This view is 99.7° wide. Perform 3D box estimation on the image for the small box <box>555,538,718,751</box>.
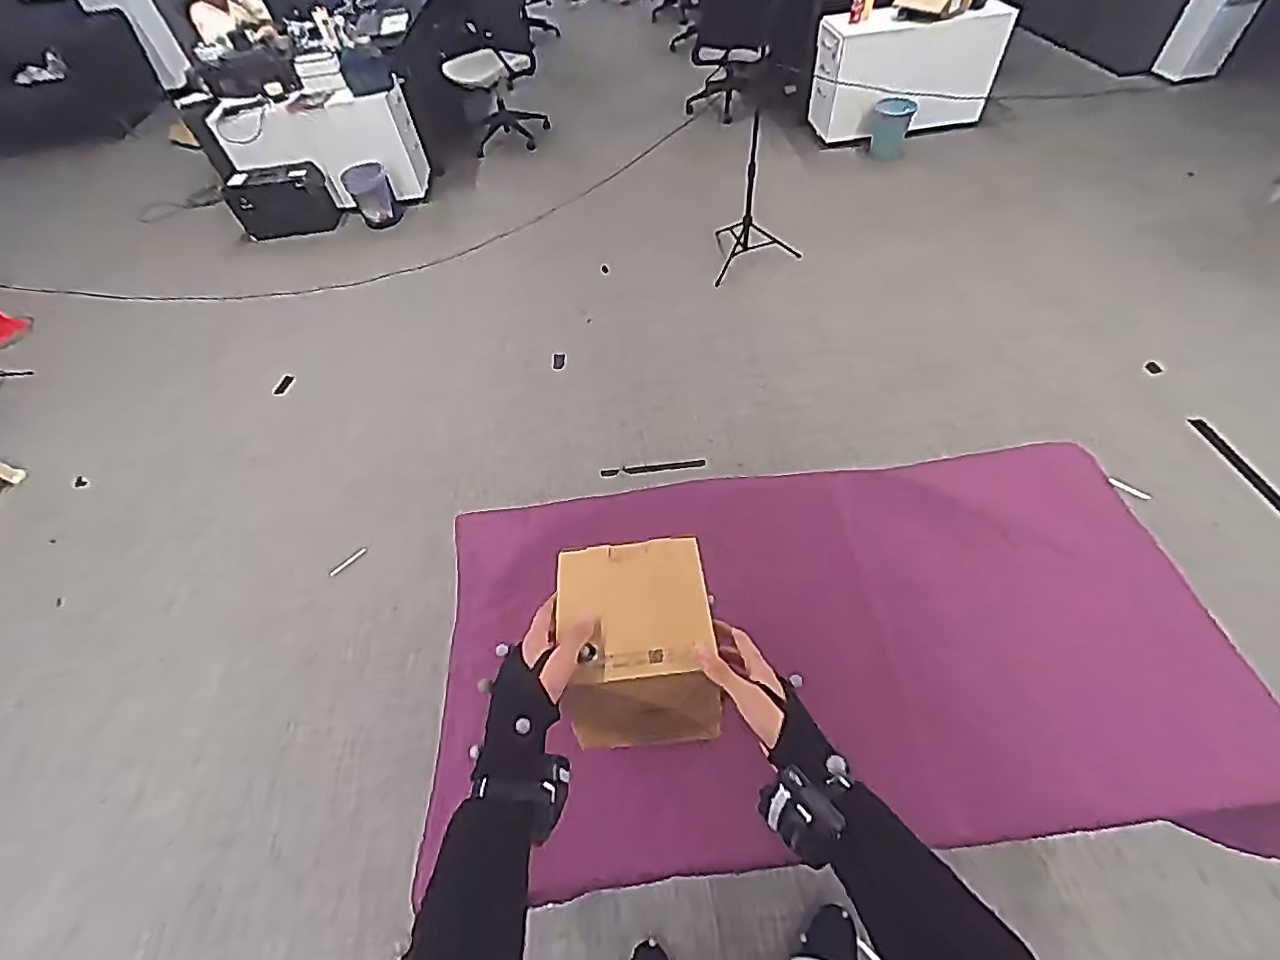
[{"bbox_3d":[-0.003,0.195,0.637,0.168,0.179,0.176,-7,44,1],"label":"small box"}]
